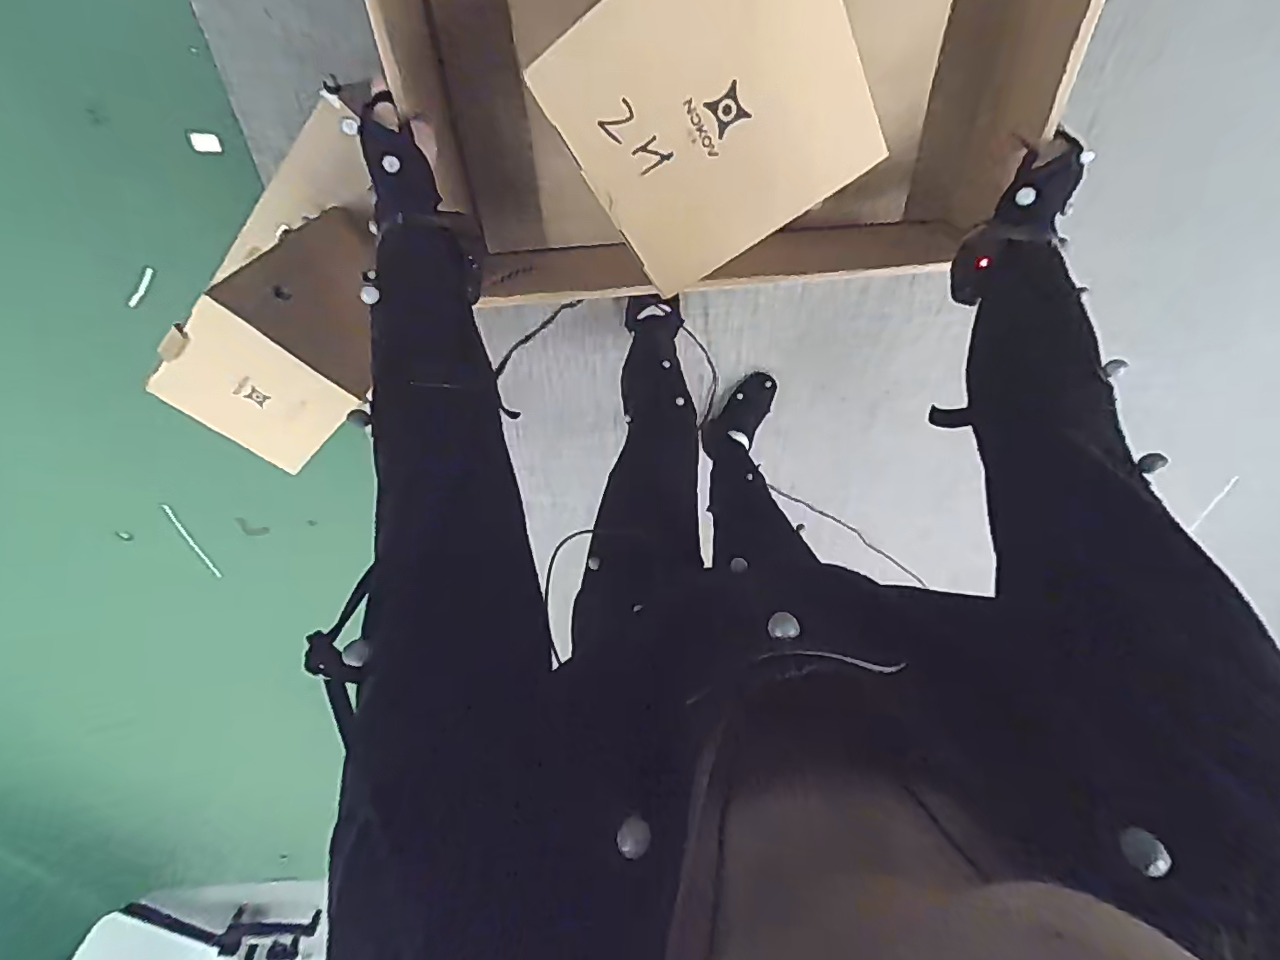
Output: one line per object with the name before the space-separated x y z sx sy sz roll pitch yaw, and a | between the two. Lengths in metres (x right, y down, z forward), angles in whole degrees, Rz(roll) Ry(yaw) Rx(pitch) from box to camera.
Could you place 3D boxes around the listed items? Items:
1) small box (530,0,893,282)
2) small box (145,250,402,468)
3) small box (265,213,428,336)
small box | 0.045 -0.285 0.391 0.179 0.176 0.168 -28 125 19
small box | -0.434 -0.156 0.668 0.168 0.176 0.179 -35 123 25
small box | -0.446 -0.261 0.791 0.168 0.176 0.179 -32 124 23
